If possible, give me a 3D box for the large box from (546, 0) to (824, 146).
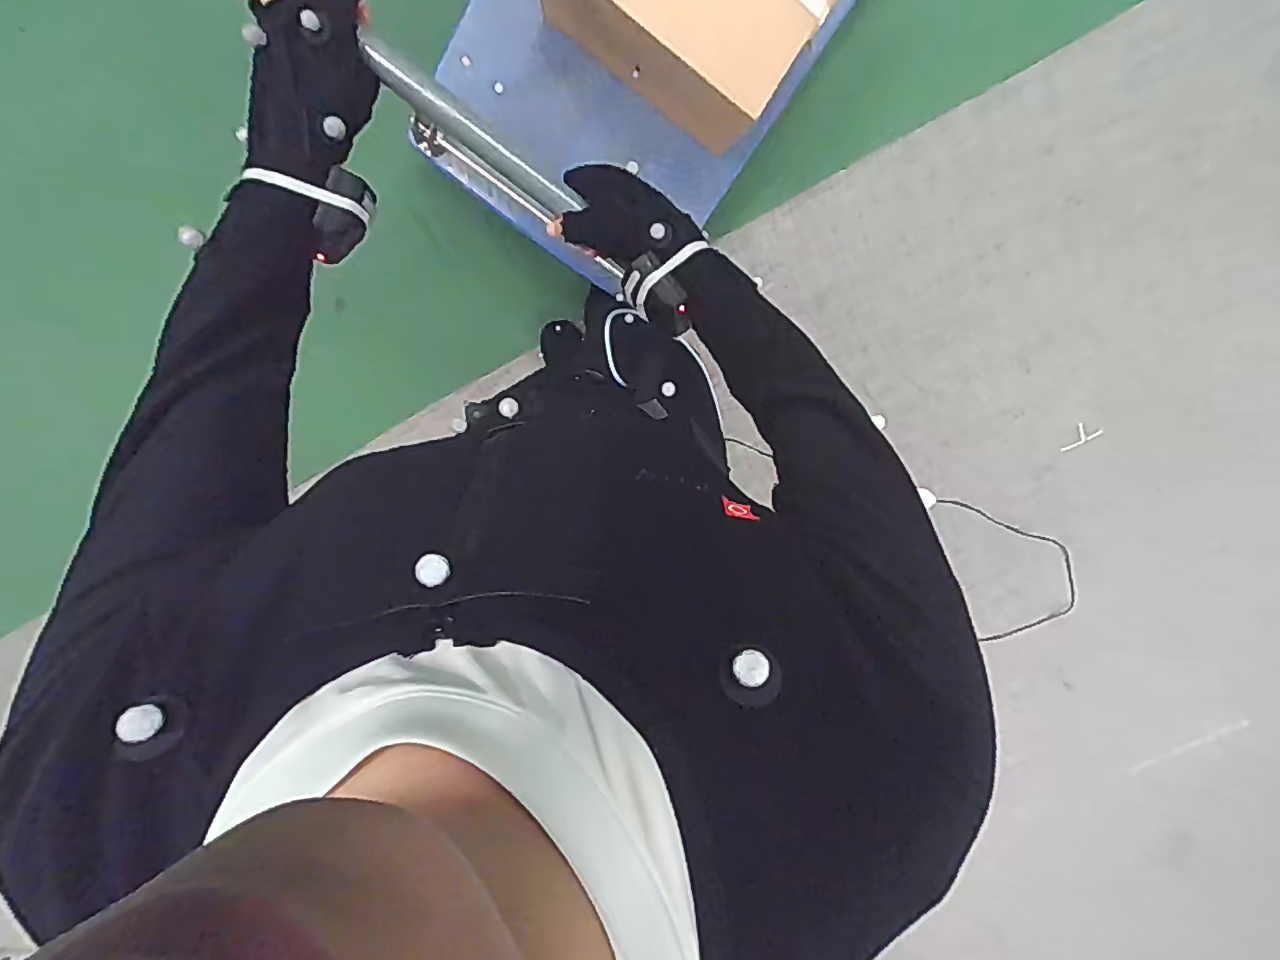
[{"bbox_3d":[0.084,-0.827,0.870,0.408,0.320,0.320,30,107,-14],"label":"large box"}]
